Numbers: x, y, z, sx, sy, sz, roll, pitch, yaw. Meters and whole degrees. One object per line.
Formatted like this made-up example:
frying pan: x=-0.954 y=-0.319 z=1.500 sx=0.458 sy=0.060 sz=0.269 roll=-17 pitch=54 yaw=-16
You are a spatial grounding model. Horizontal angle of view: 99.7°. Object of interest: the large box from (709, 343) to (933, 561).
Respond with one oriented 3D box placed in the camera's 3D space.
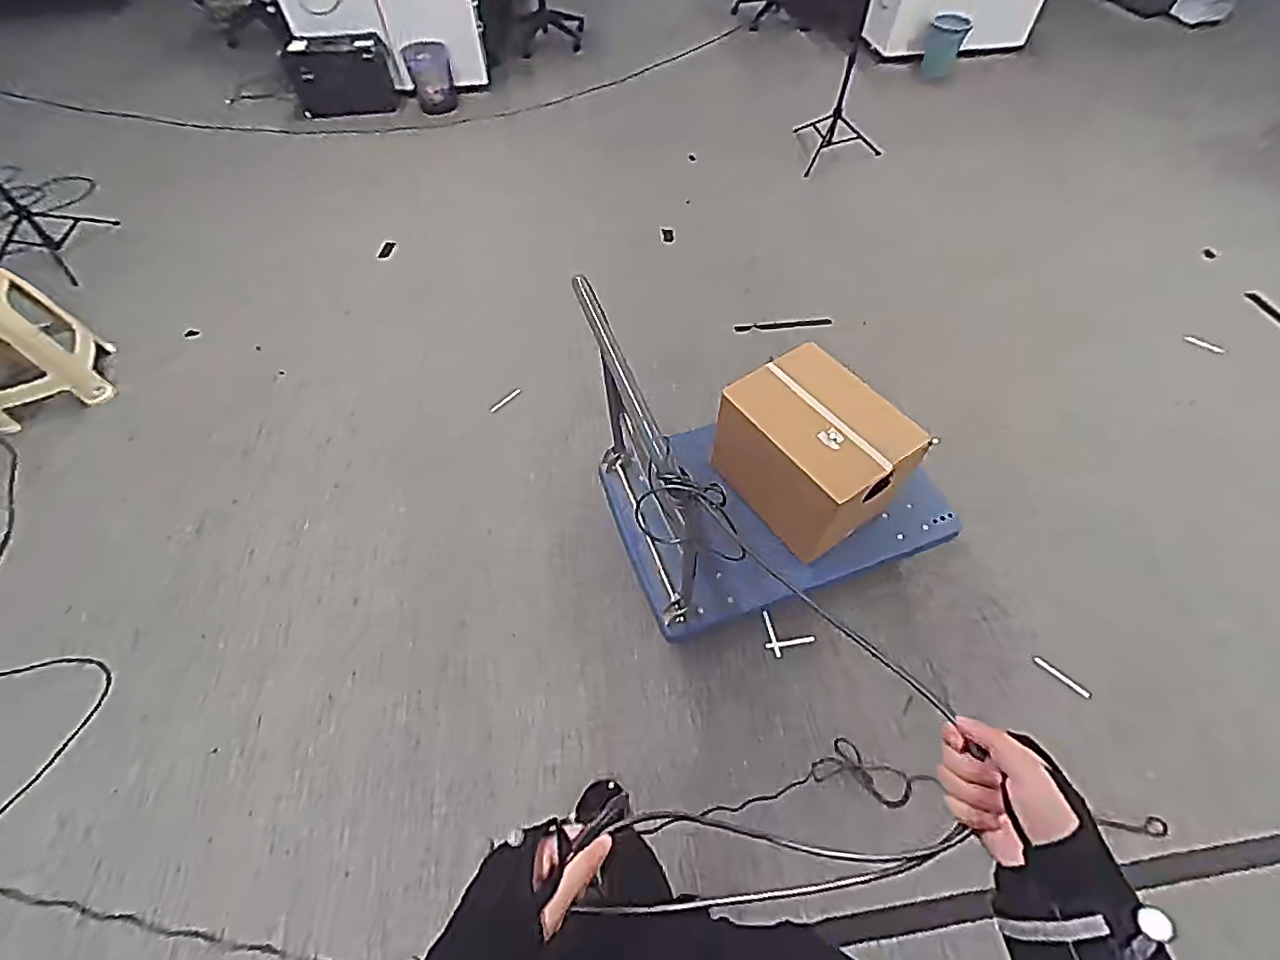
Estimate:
large box: x=0.434 y=-0.073 z=1.402 sx=0.320 sy=0.320 sz=0.408 roll=-31 pitch=62 yaw=-17
